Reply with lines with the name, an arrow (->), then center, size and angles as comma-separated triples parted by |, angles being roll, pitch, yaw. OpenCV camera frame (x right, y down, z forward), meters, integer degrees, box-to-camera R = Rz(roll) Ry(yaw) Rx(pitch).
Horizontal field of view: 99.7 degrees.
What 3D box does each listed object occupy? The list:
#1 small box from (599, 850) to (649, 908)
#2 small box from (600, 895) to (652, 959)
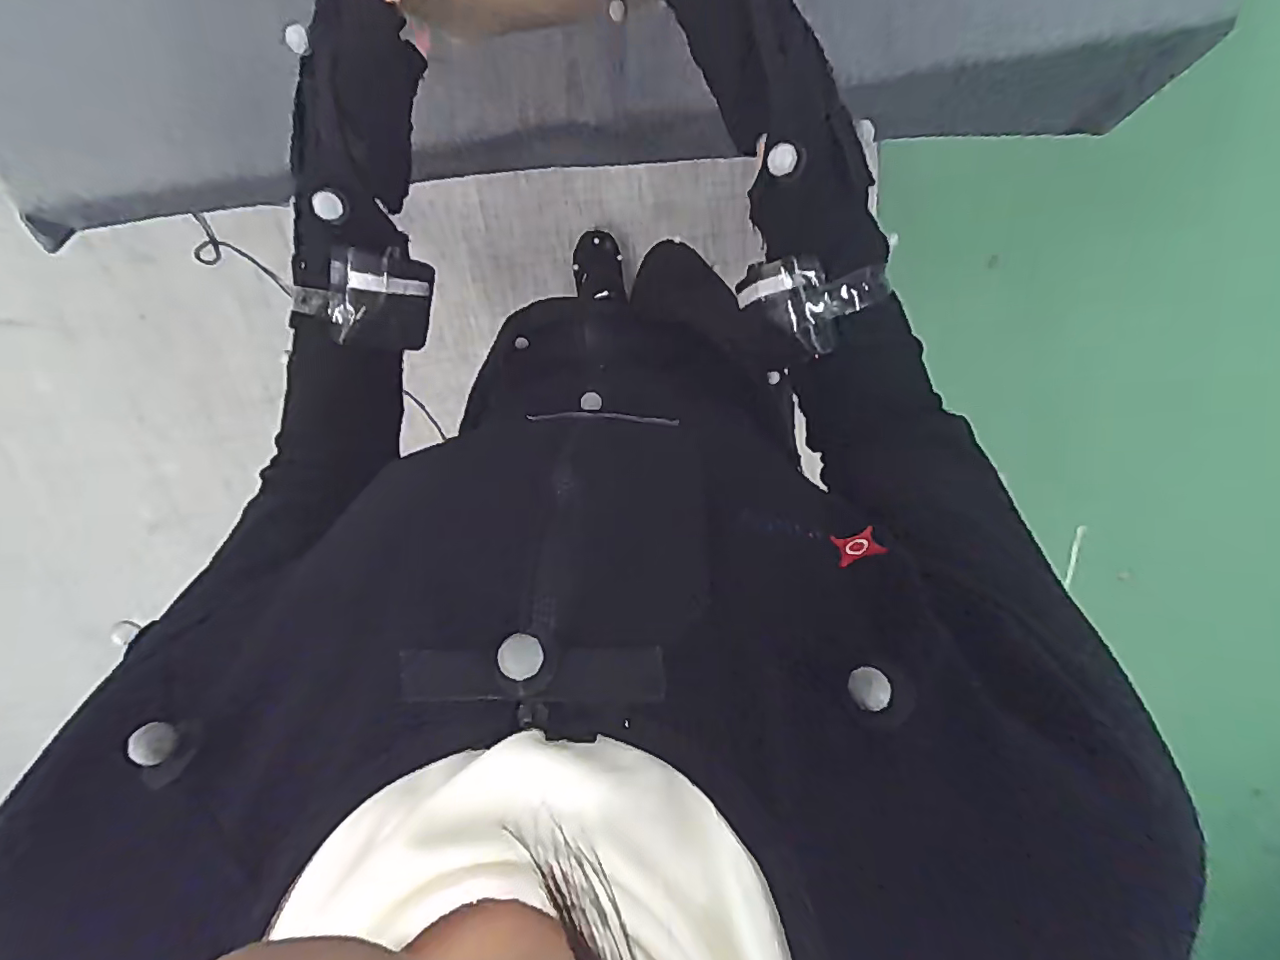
small box -> -0.059, 1.608, 2.144 | 0.179, 0.176, 0.168 | -8, 114, 2
small box -> -0.049, 1.676, 1.996 | 0.179, 0.176, 0.168 | -5, 114, 0
